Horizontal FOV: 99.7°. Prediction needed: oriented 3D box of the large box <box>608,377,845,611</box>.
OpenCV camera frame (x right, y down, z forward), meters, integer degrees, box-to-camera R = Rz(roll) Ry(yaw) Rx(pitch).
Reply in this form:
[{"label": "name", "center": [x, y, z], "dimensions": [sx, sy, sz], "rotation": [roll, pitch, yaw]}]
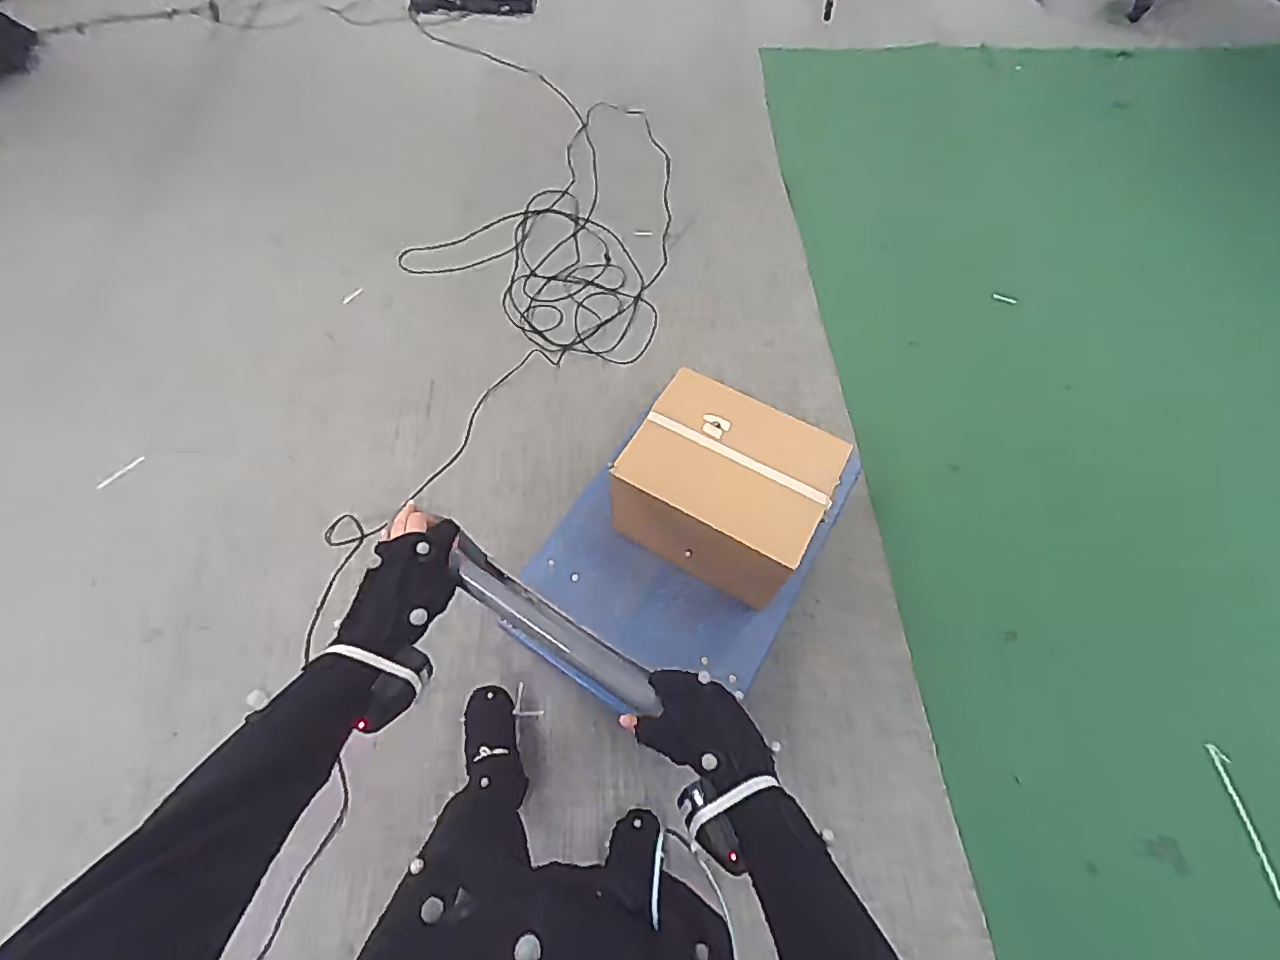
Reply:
[{"label": "large box", "center": [0.182, 0.041, 1.230], "dimensions": [0.408, 0.320, 0.320], "rotation": [28, 64, 14]}]
